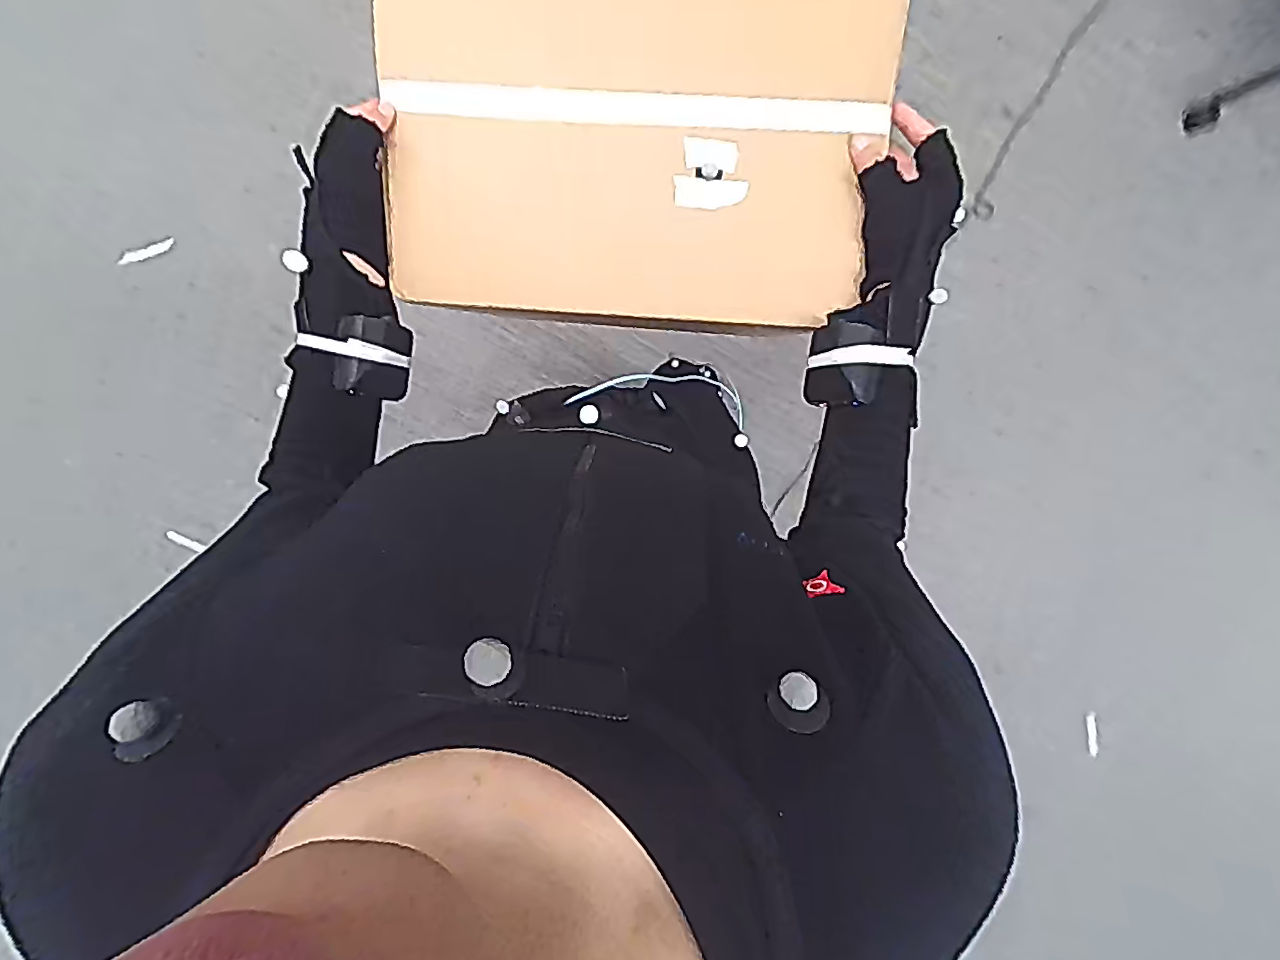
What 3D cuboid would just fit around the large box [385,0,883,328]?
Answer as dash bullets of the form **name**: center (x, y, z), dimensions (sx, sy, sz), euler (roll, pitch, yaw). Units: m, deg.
- **large box**: center (-0.006, -0.336, 0.591), dimensions (0.408, 0.320, 0.320), euler (3, 105, 2)
